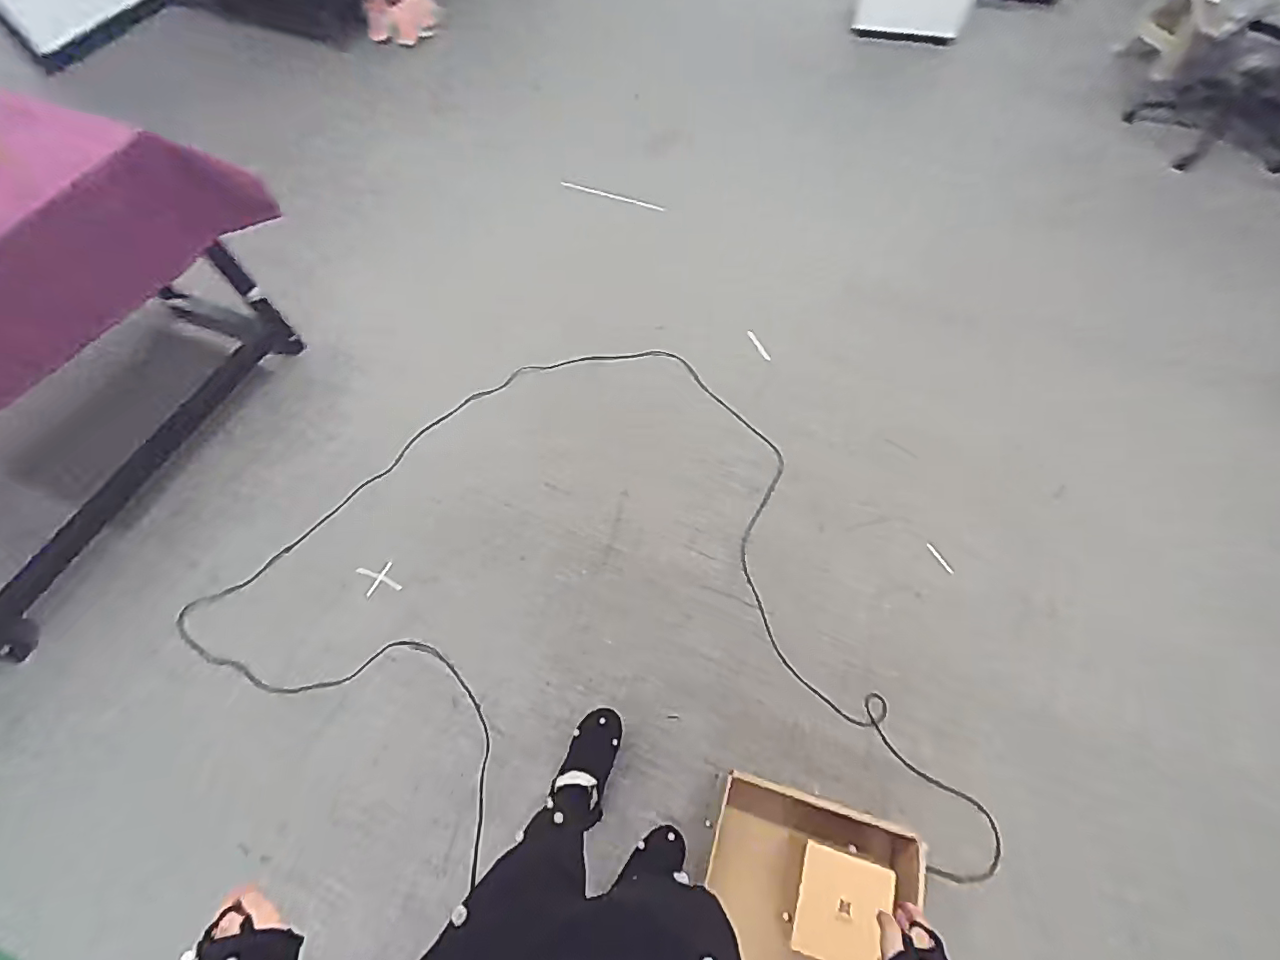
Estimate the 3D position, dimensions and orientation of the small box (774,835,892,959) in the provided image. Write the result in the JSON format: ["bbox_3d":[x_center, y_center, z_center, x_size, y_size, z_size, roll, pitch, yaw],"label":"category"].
[{"bbox_3d":[0.369,0.823,1.056,0.168,0.176,0.179,15,65,11],"label":"small box"}]
